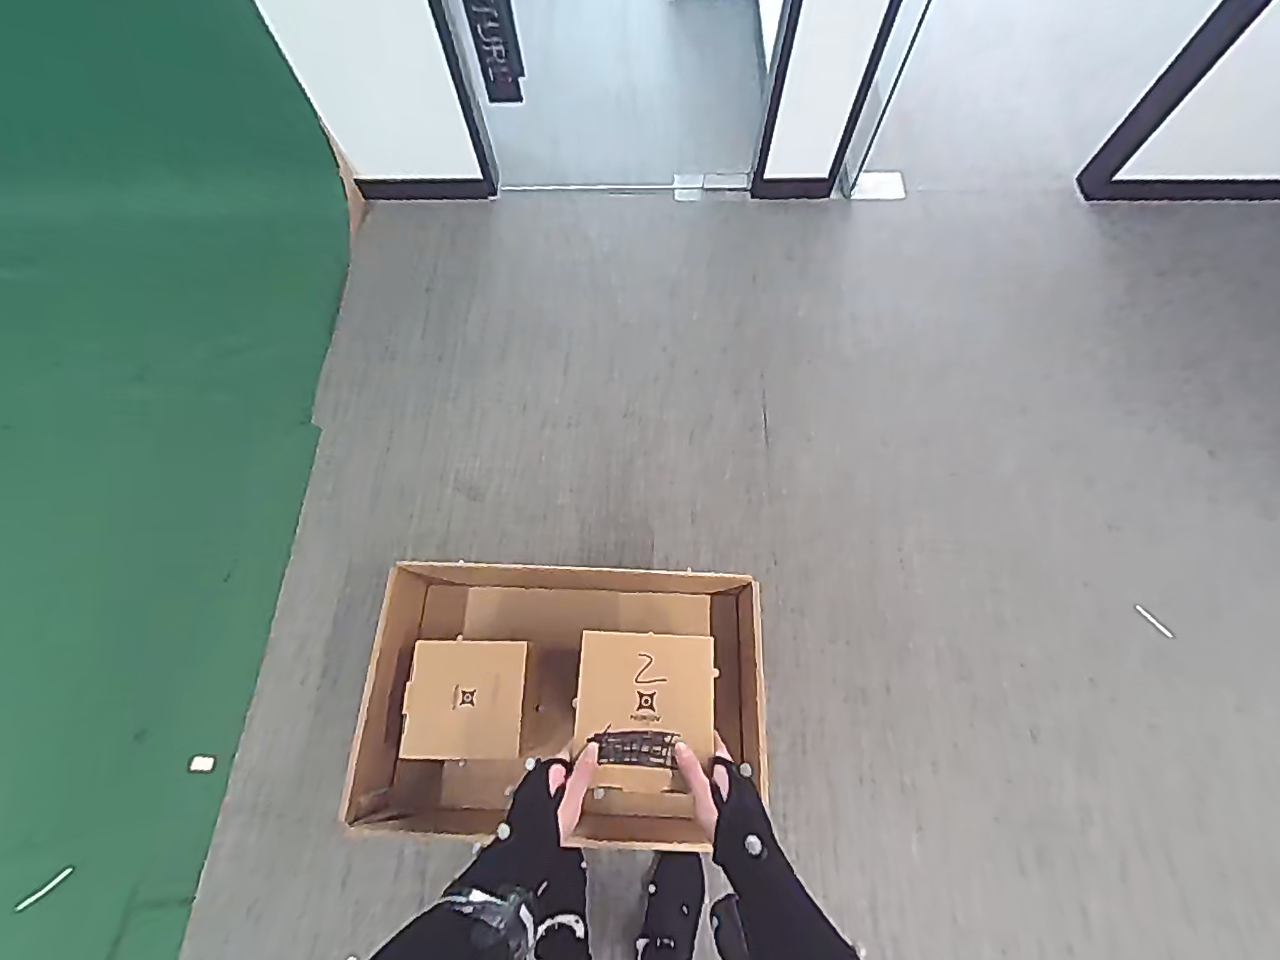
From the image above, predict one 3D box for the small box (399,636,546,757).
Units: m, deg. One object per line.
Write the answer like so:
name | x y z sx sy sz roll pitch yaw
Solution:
small box | -0.258 0.350 0.877 0.179 0.176 0.168 1 68 0
